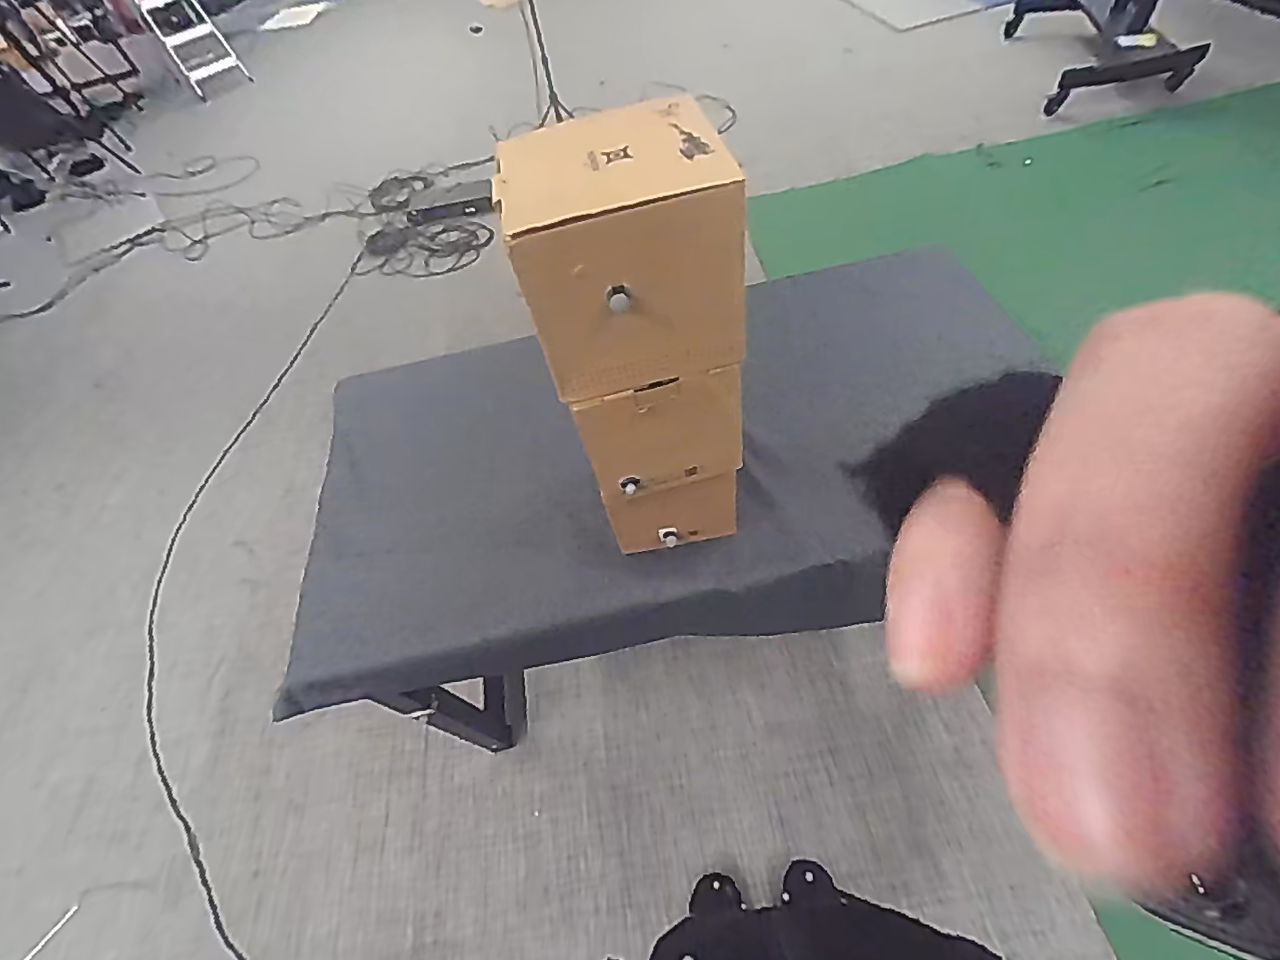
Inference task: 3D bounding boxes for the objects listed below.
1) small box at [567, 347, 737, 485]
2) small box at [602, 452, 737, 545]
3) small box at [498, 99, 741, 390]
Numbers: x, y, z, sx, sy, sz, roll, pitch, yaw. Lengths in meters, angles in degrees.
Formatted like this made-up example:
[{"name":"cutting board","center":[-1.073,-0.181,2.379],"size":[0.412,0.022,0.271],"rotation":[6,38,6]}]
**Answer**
[{"name":"small box","center":[0.008,-0.113,0.624],"size":[0.168,0.176,0.179],"rotation":[-18,55,-1]},{"name":"small box","center":[0.036,-0.033,0.765],"size":[0.168,0.176,0.179],"rotation":[-13,56,3]},{"name":"small box","center":[-0.014,-0.207,0.495],"size":[0.179,0.176,0.168],"rotation":[-15,52,-1]}]
